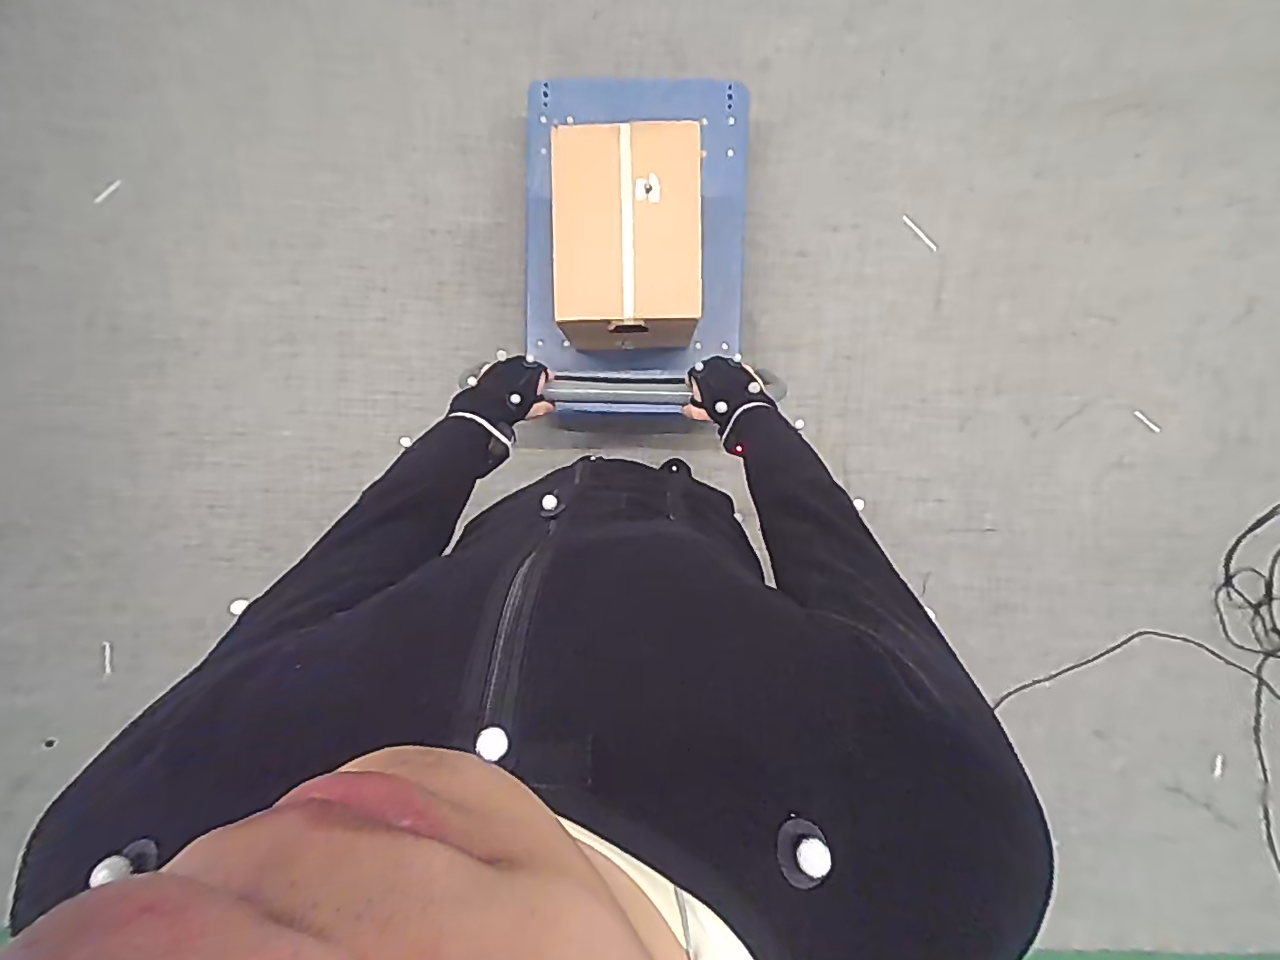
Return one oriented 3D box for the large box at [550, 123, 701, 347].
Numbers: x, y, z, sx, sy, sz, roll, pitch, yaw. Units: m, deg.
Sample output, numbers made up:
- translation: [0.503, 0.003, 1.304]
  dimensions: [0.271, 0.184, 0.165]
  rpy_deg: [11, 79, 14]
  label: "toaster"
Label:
- translation: [-0.026, -0.549, 1.287]
  dimensions: [0.320, 0.320, 0.408]
  rpy_deg: [-1, 93, 1]
  label: "large box"
